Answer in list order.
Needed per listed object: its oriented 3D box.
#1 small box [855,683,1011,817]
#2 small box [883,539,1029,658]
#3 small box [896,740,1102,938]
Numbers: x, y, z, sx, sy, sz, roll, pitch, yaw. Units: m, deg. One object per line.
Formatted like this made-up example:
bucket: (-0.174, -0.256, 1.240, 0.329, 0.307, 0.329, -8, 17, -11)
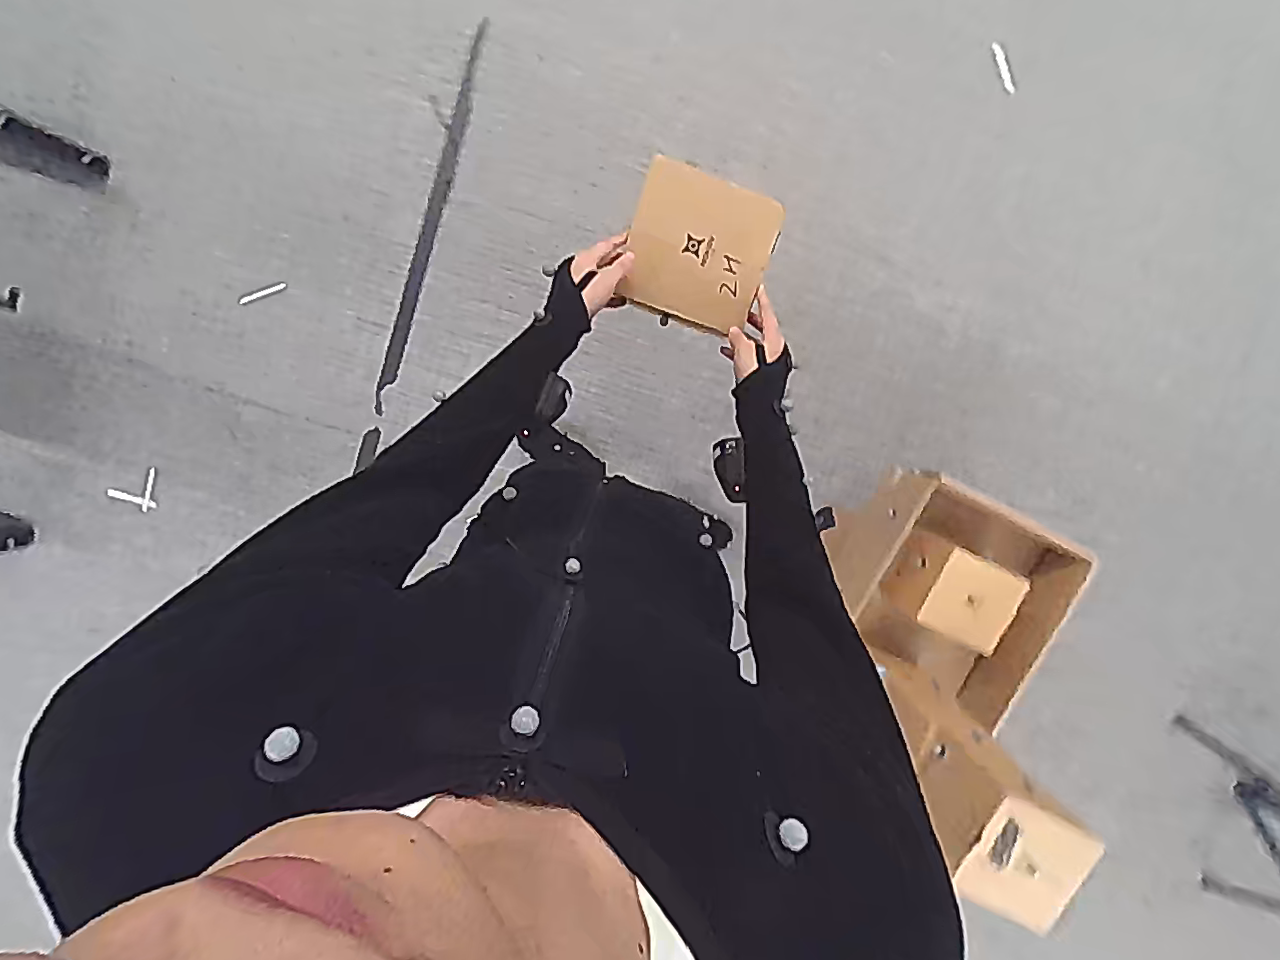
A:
small box: (0.534, 0.523, 1.018, 0.168, 0.176, 0.179, 25, 97, -3)
small box: (0.657, 0.240, 1.150, 0.179, 0.176, 0.168, 26, 97, -4)
small box: (0.548, 0.549, 0.855, 0.179, 0.176, 0.168, 29, 96, -4)
